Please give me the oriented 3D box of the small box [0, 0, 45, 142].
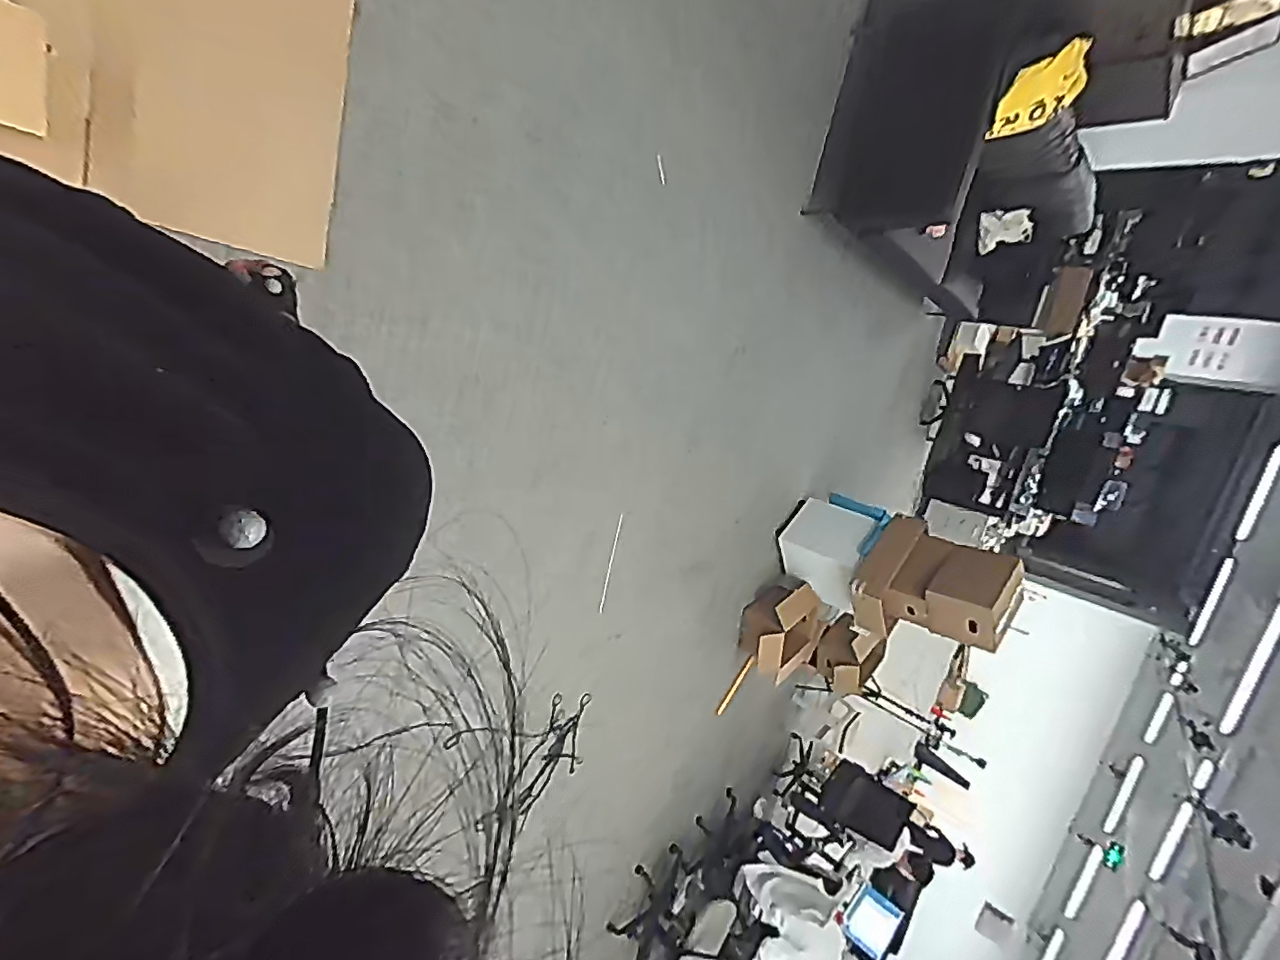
[{"bbox_3d":[-1.018,-0.638,0.812,0.168,0.176,0.179,-1,107,-48],"label":"small box"}]
